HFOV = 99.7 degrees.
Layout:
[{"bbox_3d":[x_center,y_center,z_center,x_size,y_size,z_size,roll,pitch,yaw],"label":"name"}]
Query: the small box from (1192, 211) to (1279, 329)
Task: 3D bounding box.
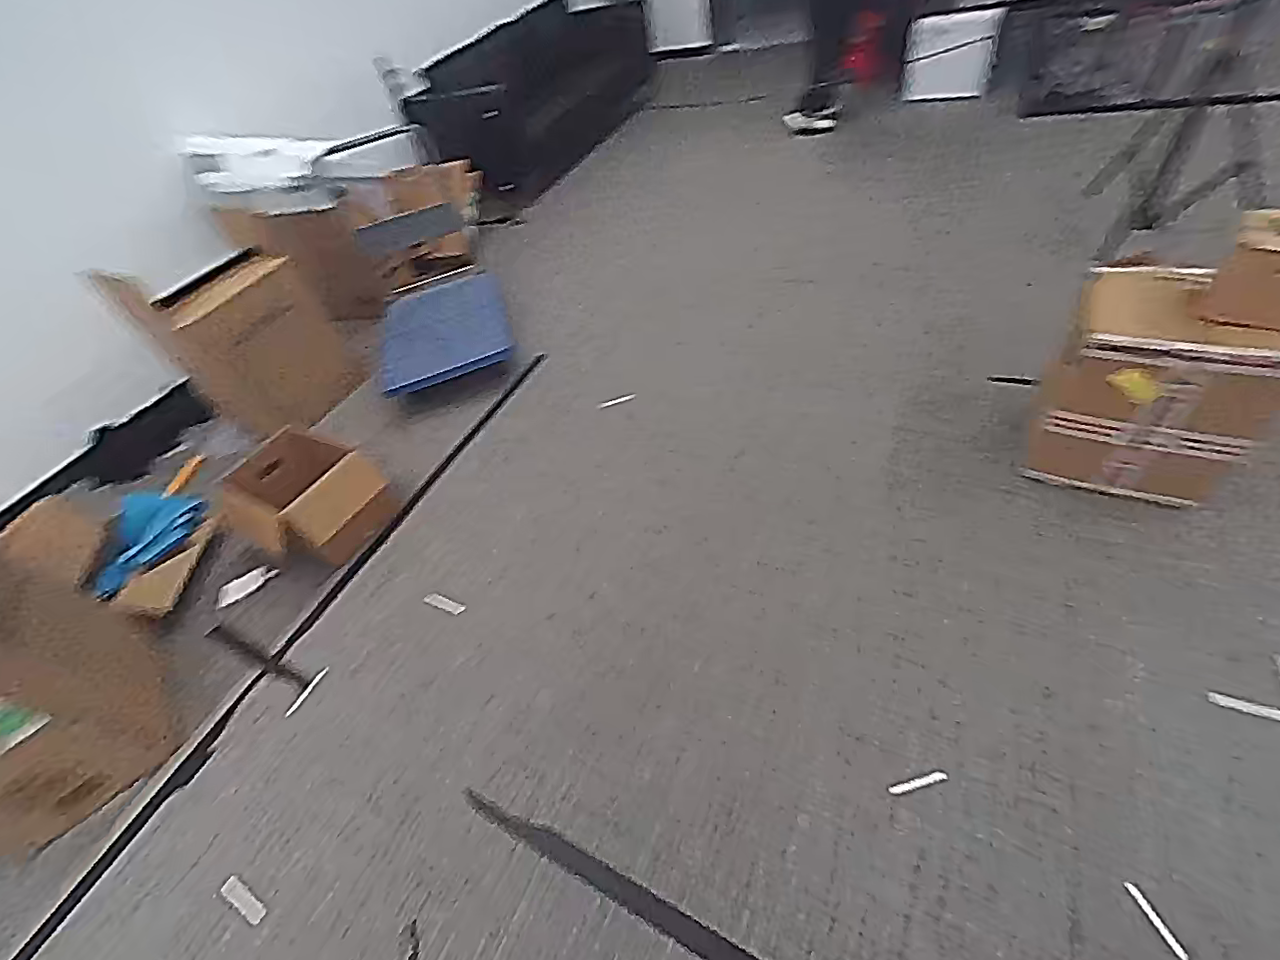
[{"bbox_3d":[1.324,-0.442,1.143,0.179,0.176,0.168,20,59,26],"label":"small box"}]
